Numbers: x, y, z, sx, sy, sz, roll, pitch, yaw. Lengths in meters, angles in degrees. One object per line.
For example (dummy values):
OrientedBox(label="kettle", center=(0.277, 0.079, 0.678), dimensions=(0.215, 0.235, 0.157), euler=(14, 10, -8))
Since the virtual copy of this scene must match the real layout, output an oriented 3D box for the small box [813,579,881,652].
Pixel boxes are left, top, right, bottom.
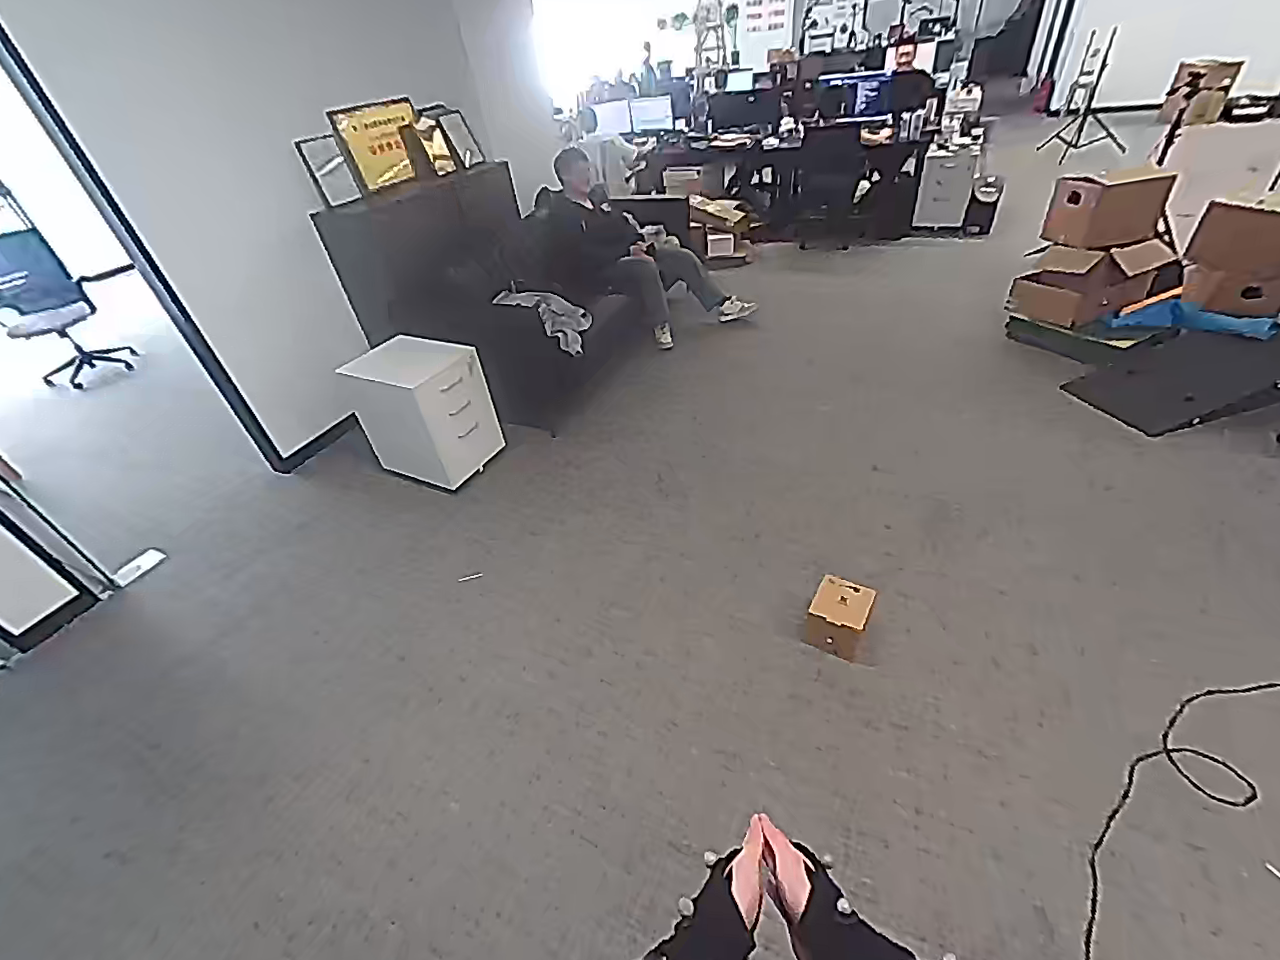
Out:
OrientedBox(label="small box", center=(0.666, 0.442, 1.756), dimensions=(0.179, 0.176, 0.168), euler=(-4, 36, 8))
